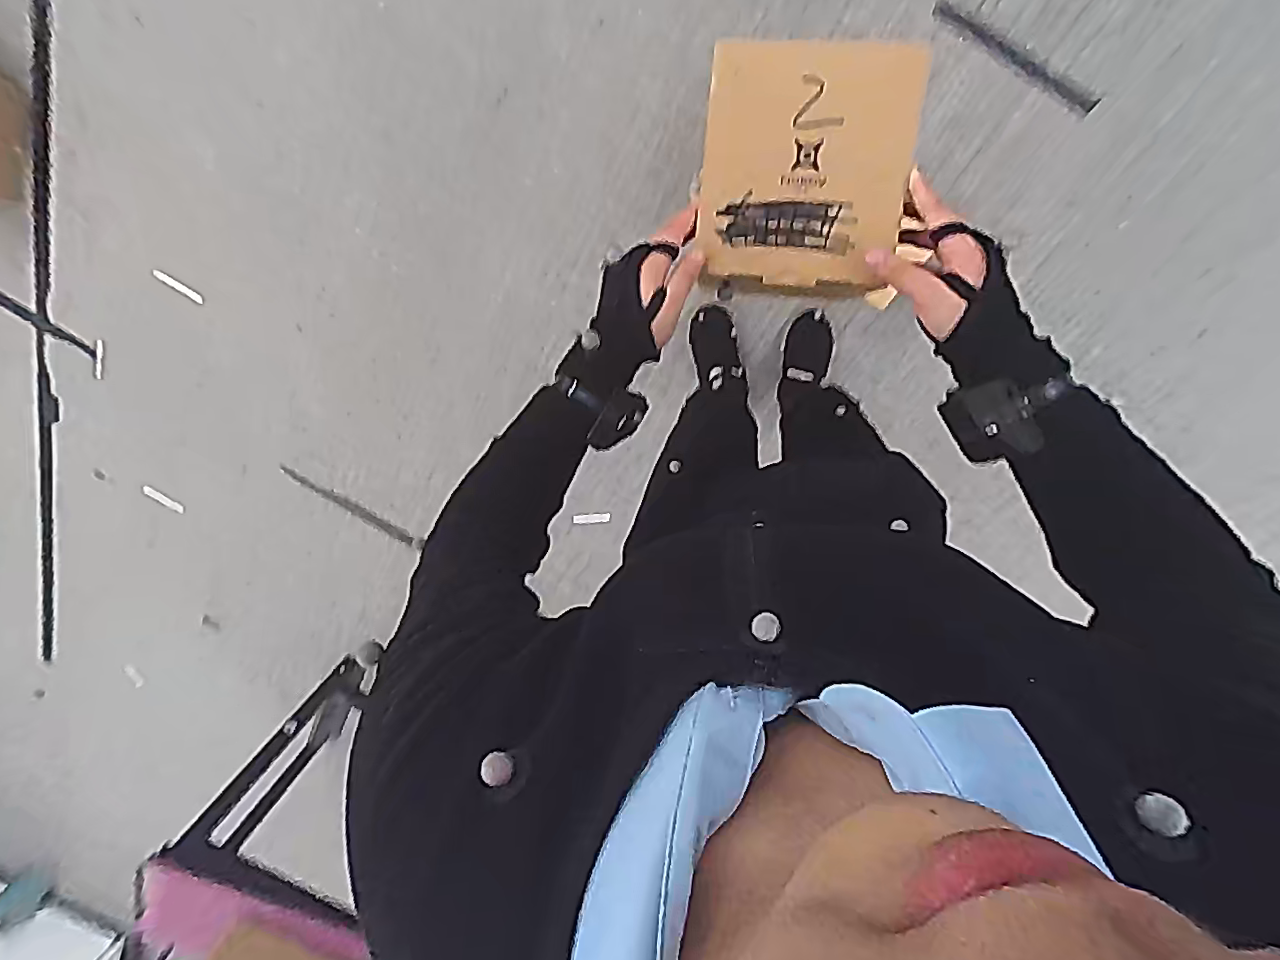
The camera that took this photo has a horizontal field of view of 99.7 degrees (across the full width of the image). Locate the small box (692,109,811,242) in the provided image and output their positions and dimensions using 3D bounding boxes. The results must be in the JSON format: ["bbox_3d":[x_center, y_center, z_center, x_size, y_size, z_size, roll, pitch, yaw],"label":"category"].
[{"bbox_3d":[0.227,-0.624,1.127,0.168,0.176,0.179,32,116,-4],"label":"small box"}]

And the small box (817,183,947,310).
[{"bbox_3d":[0.493,-0.487,1.135,0.168,0.176,0.179,35,116,-6],"label":"small box"}]
